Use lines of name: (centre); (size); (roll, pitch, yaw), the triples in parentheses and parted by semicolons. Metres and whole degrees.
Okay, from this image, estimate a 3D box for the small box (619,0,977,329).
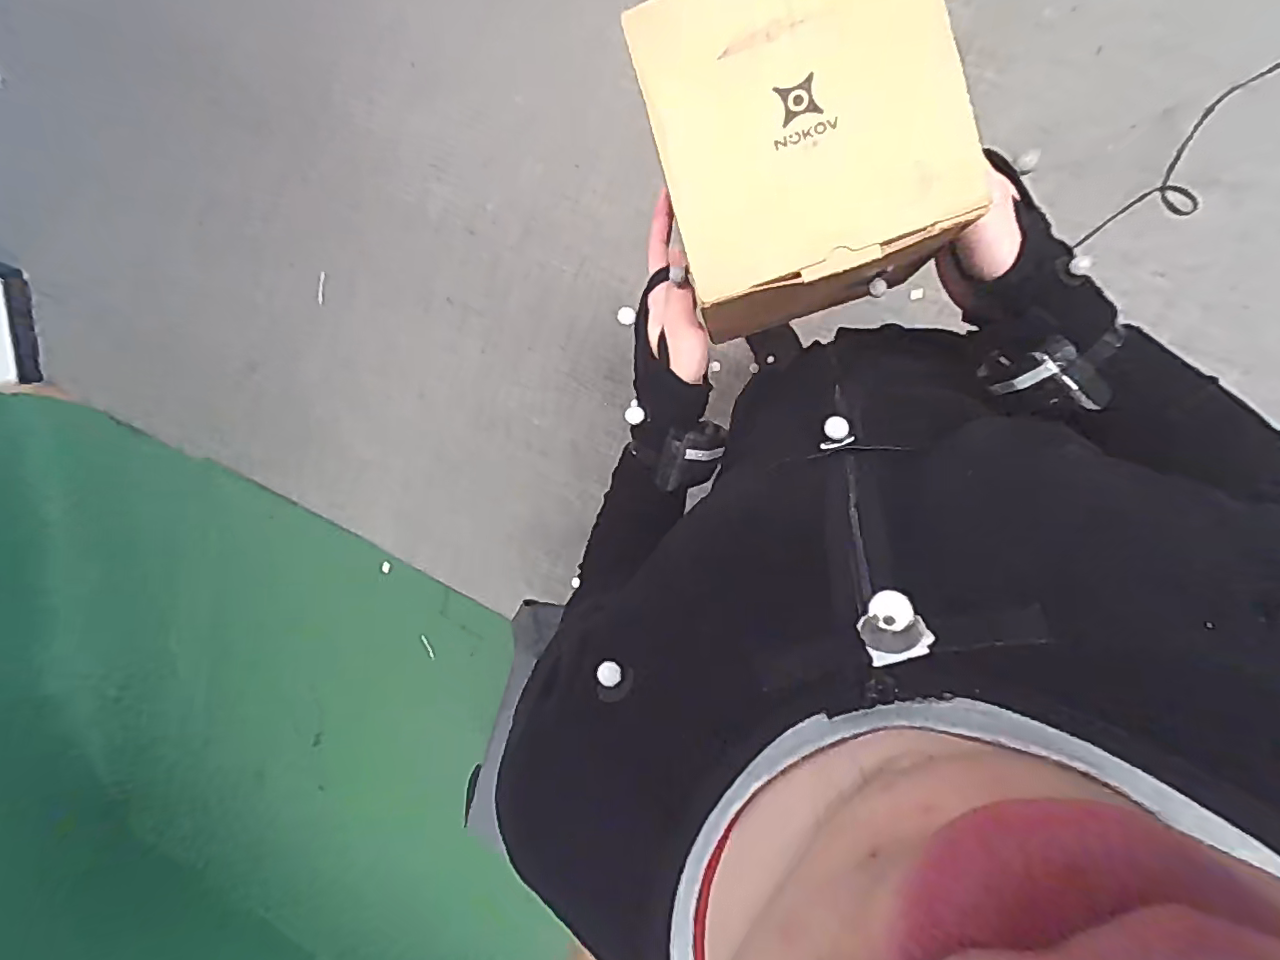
small box: (0.100, -0.218, 0.384); (0.168, 0.176, 0.179); (-15, 93, 10)
